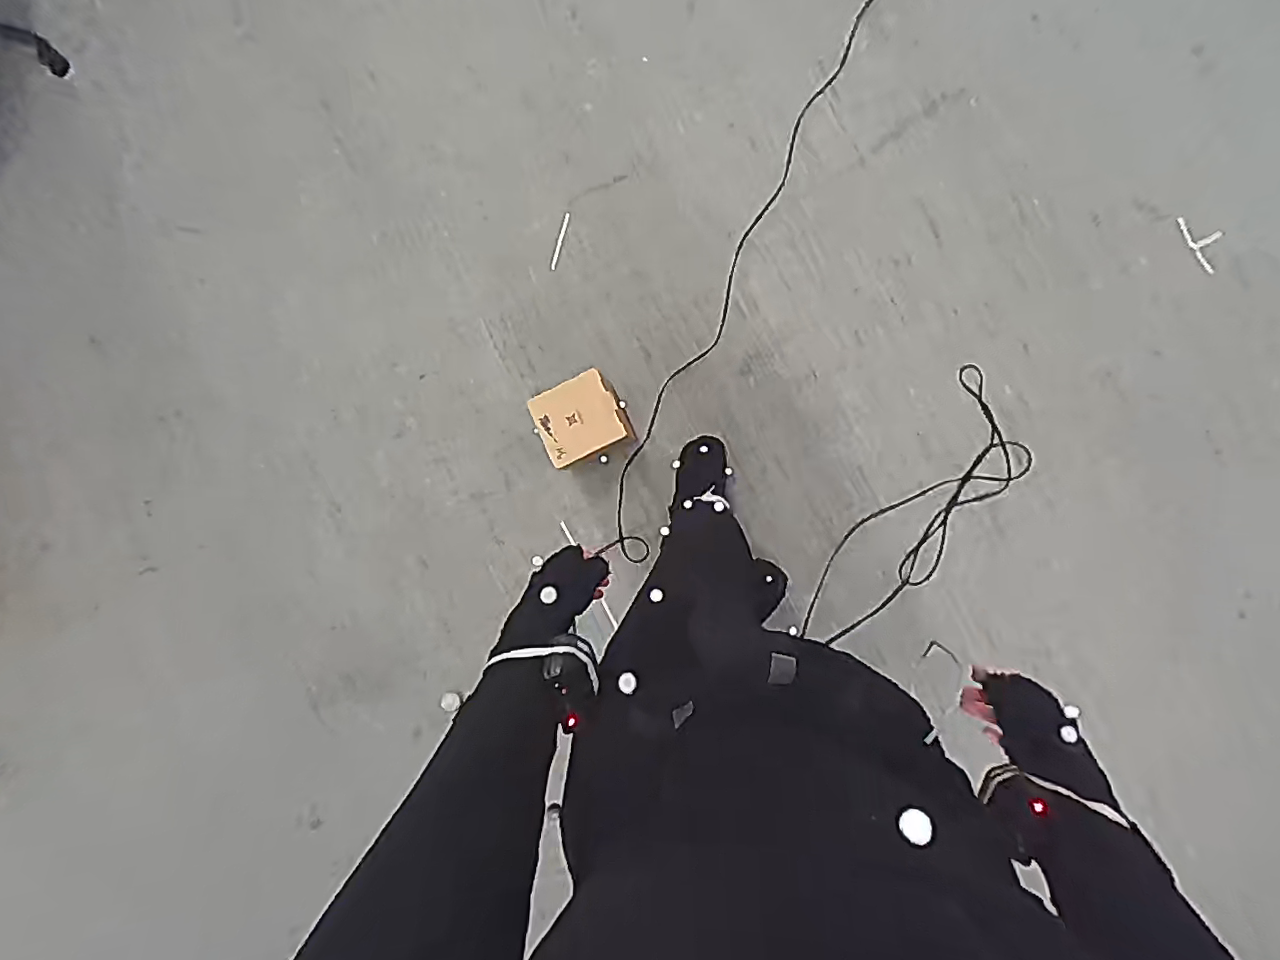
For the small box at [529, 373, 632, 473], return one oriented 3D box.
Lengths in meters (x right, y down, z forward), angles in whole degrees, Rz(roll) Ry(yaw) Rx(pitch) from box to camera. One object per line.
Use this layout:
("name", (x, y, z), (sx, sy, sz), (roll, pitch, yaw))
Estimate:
("small box", (-0.126, -0.125, 1.240), (0.179, 0.176, 0.168), (-24, 88, 6))
